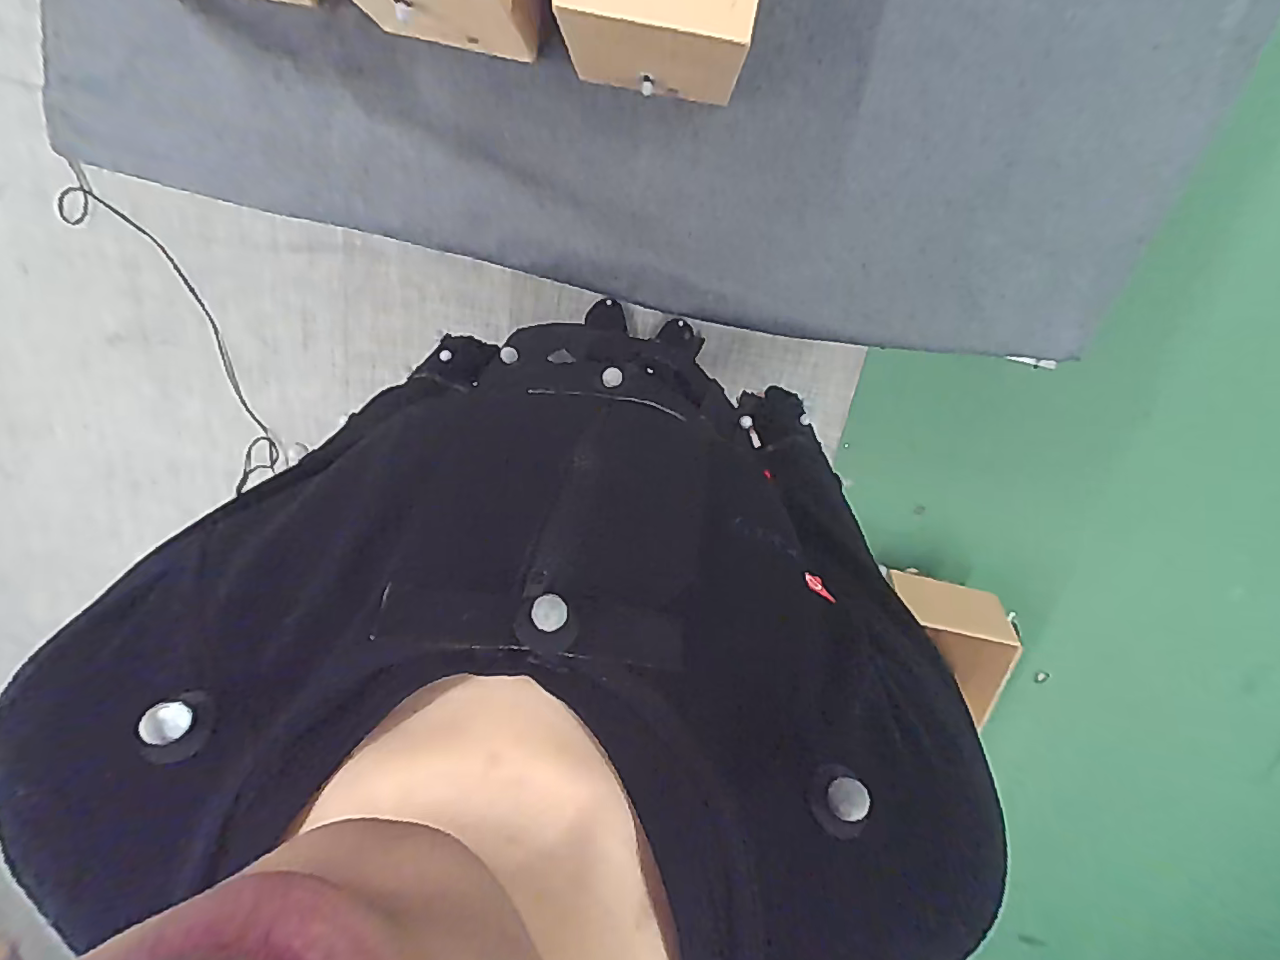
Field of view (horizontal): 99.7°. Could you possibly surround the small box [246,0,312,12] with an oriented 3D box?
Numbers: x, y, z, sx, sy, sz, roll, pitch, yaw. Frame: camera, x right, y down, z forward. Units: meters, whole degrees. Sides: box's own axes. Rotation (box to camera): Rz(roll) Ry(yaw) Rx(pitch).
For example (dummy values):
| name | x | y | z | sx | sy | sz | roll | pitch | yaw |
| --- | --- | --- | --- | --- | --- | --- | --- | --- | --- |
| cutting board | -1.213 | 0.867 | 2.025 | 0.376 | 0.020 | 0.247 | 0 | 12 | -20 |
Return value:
| name | x | y | z | sx | sy | sz | roll | pitch | yaw |
| --- | --- | --- | --- | --- | --- | --- | --- | --- | --- |
| small box | -0.411 | -0.556 | 0.469 | 0.168 | 0.176 | 0.179 | 8 | 108 | -1 |
